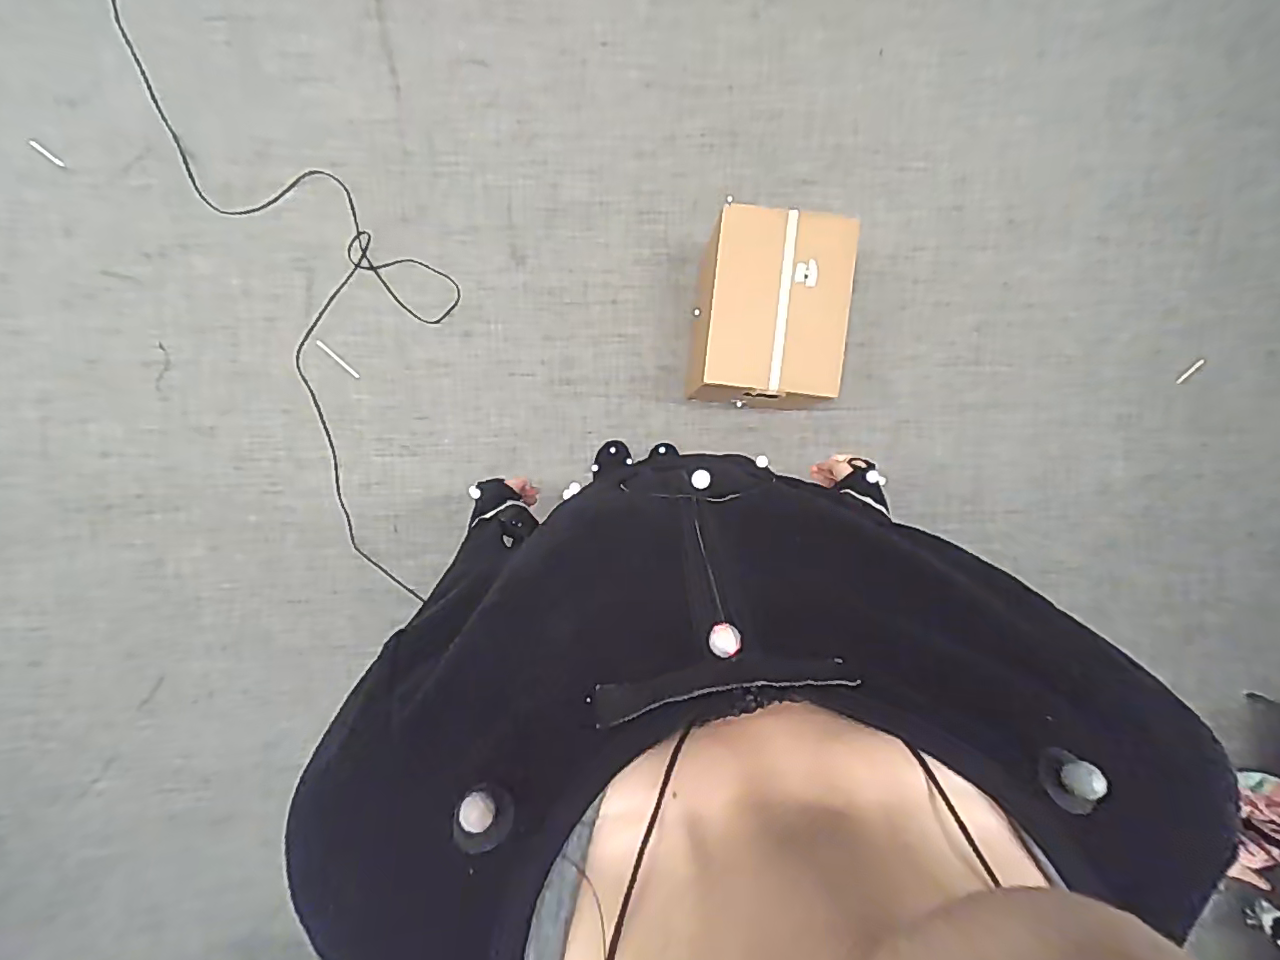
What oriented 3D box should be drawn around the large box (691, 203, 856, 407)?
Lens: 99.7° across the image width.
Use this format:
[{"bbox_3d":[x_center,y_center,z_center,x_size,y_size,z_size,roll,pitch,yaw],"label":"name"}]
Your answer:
[{"bbox_3d":[0.312,-0.408,1.357,0.320,0.320,0.408,6,91,-3],"label":"large box"}]
